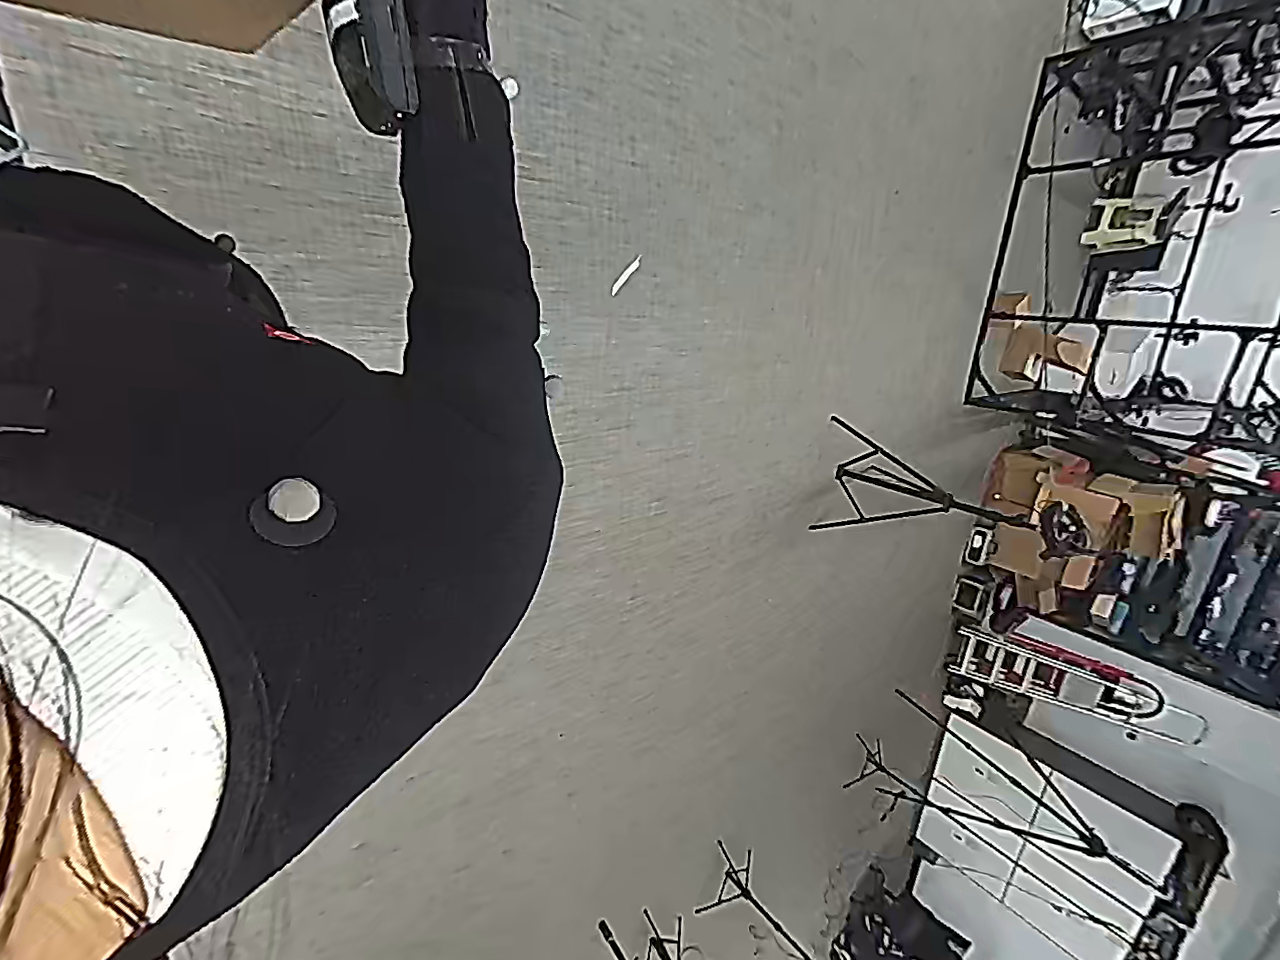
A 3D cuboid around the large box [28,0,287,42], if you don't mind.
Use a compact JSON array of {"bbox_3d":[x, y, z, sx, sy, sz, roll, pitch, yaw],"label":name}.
[{"bbox_3d":[-0.399,-0.427,0.207,0.408,0.320,0.320,-18,125,-38],"label":"large box"}]
